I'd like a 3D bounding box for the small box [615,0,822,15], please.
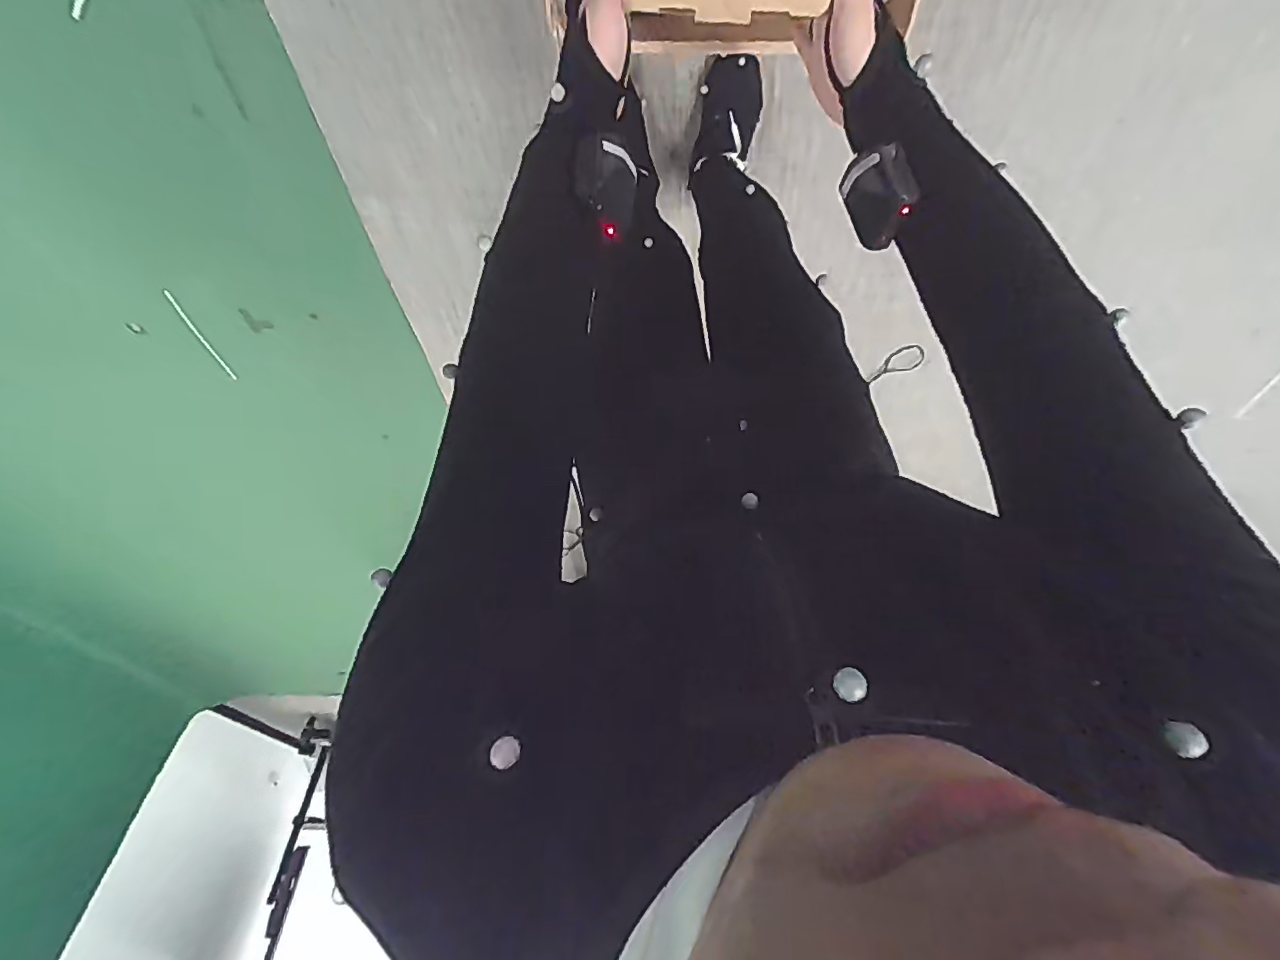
[{"bbox_3d":[0.067,-0.487,0.411,0.168,0.176,0.179,2,140,2],"label":"small box"}]
